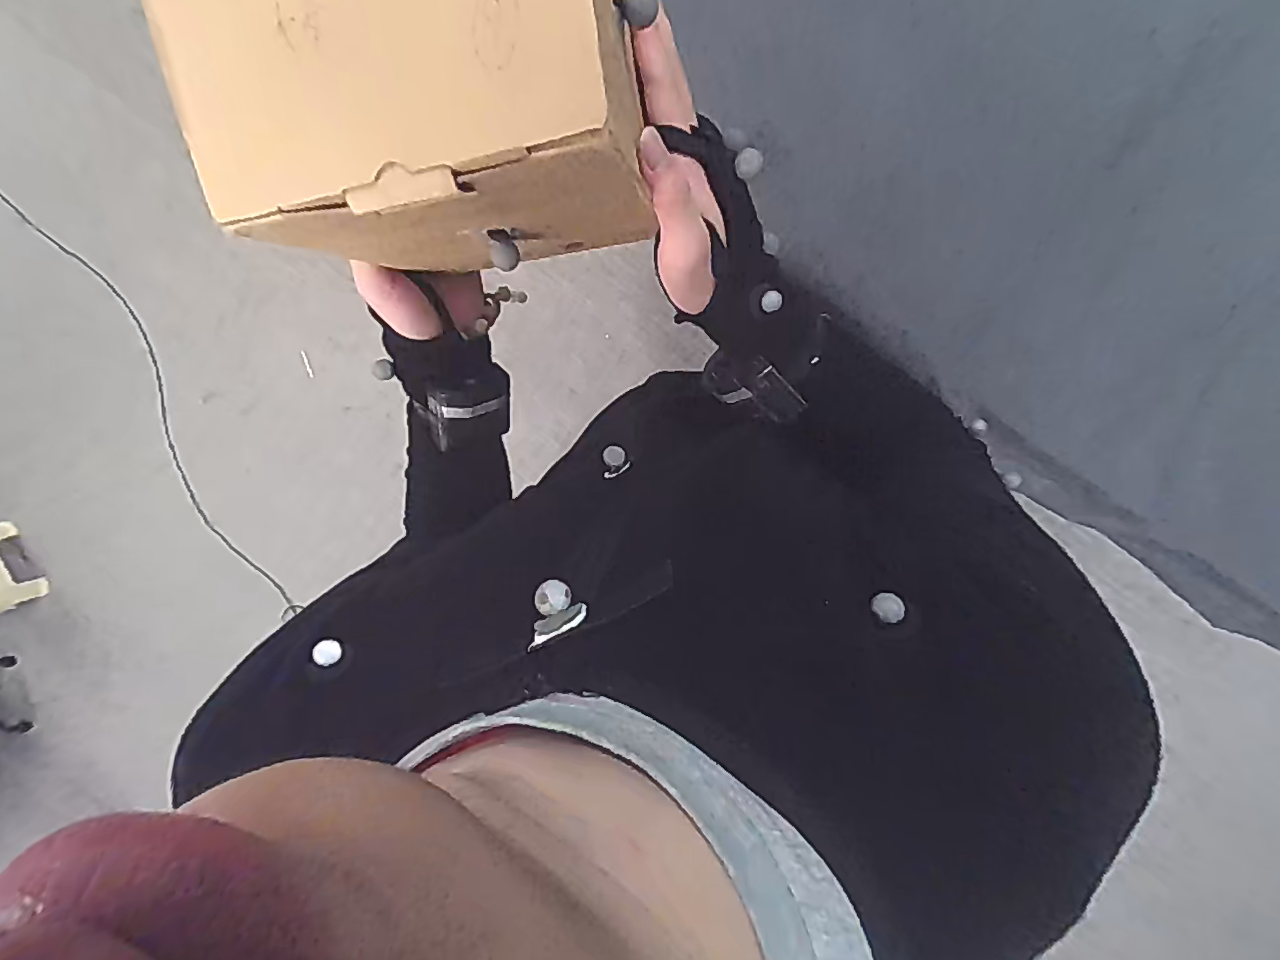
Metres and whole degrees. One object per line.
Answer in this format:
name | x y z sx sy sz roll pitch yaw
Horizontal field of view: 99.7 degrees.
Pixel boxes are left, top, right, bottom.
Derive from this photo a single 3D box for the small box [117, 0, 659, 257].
small box | -0.089 -0.207 0.244 0.168 0.176 0.179 -5 105 10
